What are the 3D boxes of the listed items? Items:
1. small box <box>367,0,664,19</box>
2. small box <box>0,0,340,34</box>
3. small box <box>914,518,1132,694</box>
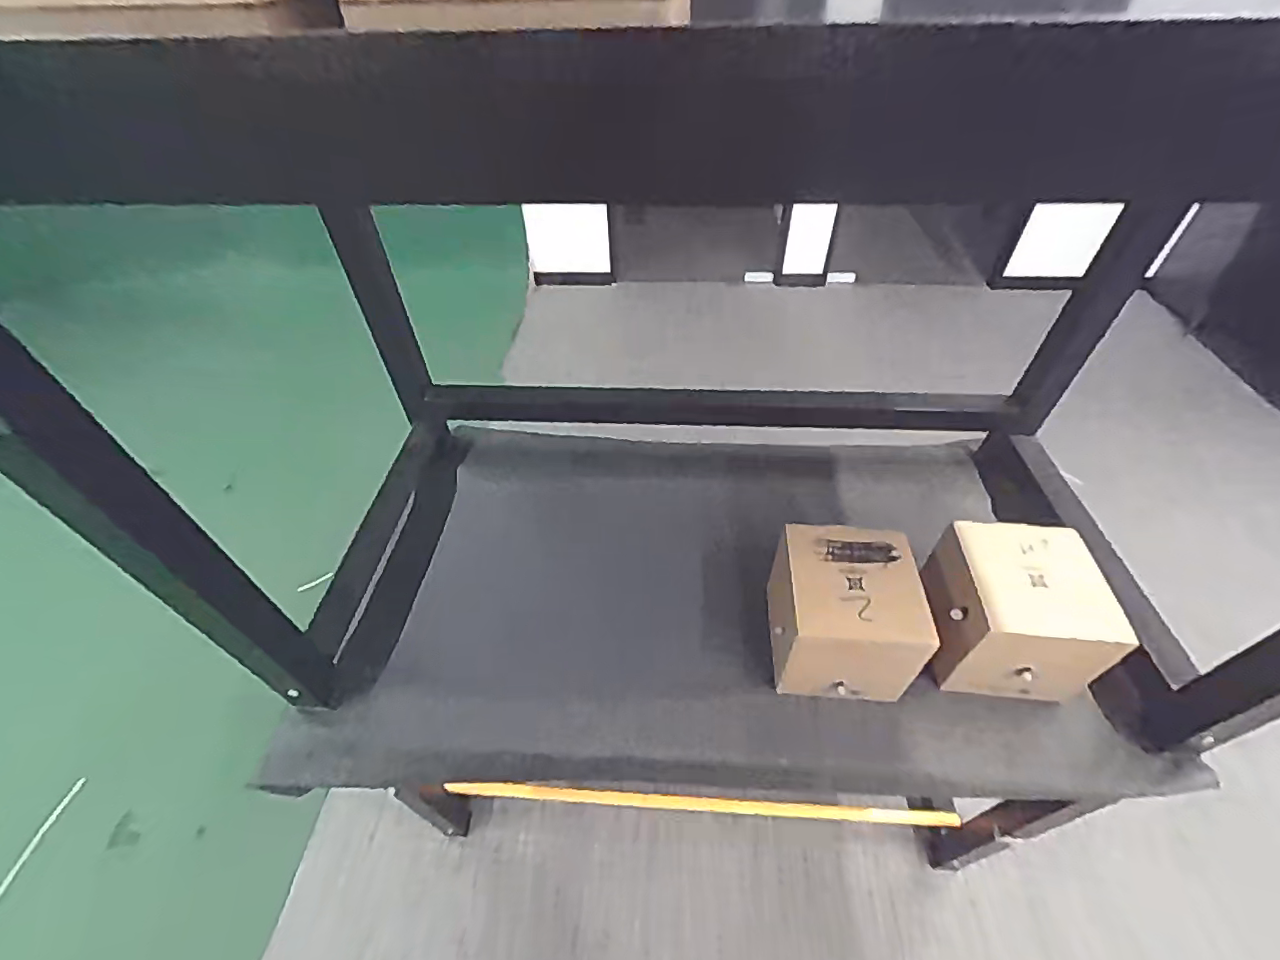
[{"bbox_3d":[-0.059,-0.340,0.261,0.168,0.176,0.179,3,46,5],"label":"small box"},{"bbox_3d":[-0.256,-0.345,0.269,0.168,0.176,0.179,3,47,4],"label":"small box"},{"bbox_3d":[0.508,0.177,0.752,0.168,0.176,0.179,4,46,6],"label":"small box"}]
